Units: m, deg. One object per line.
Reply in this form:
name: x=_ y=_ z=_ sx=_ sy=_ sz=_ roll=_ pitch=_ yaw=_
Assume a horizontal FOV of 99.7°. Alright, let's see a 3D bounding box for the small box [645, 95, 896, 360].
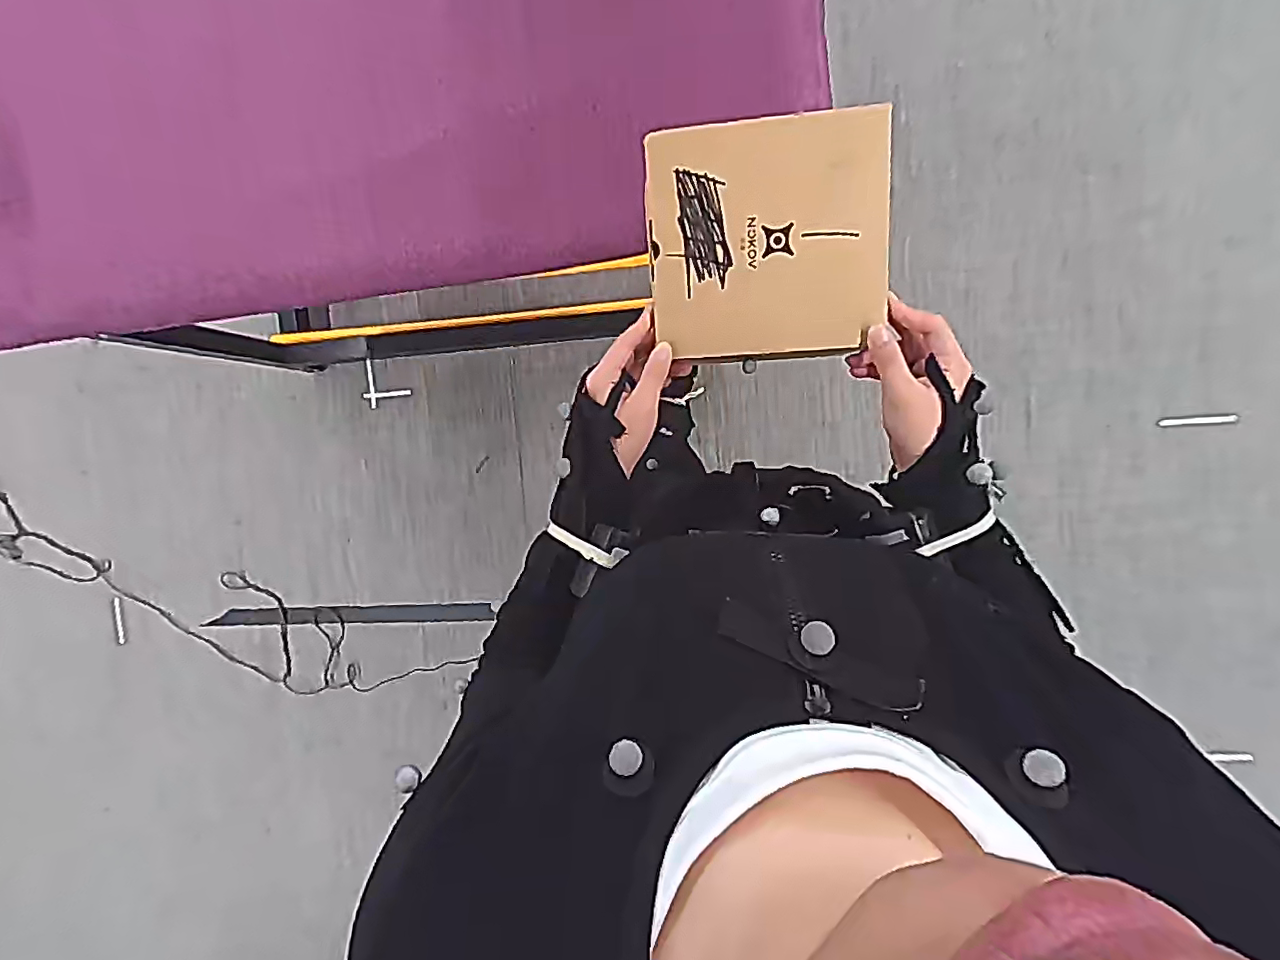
small box: x=0.106 y=-0.196 z=0.474 sx=0.179 sy=0.176 sz=0.168 roll=-2 pitch=101 yaw=9
